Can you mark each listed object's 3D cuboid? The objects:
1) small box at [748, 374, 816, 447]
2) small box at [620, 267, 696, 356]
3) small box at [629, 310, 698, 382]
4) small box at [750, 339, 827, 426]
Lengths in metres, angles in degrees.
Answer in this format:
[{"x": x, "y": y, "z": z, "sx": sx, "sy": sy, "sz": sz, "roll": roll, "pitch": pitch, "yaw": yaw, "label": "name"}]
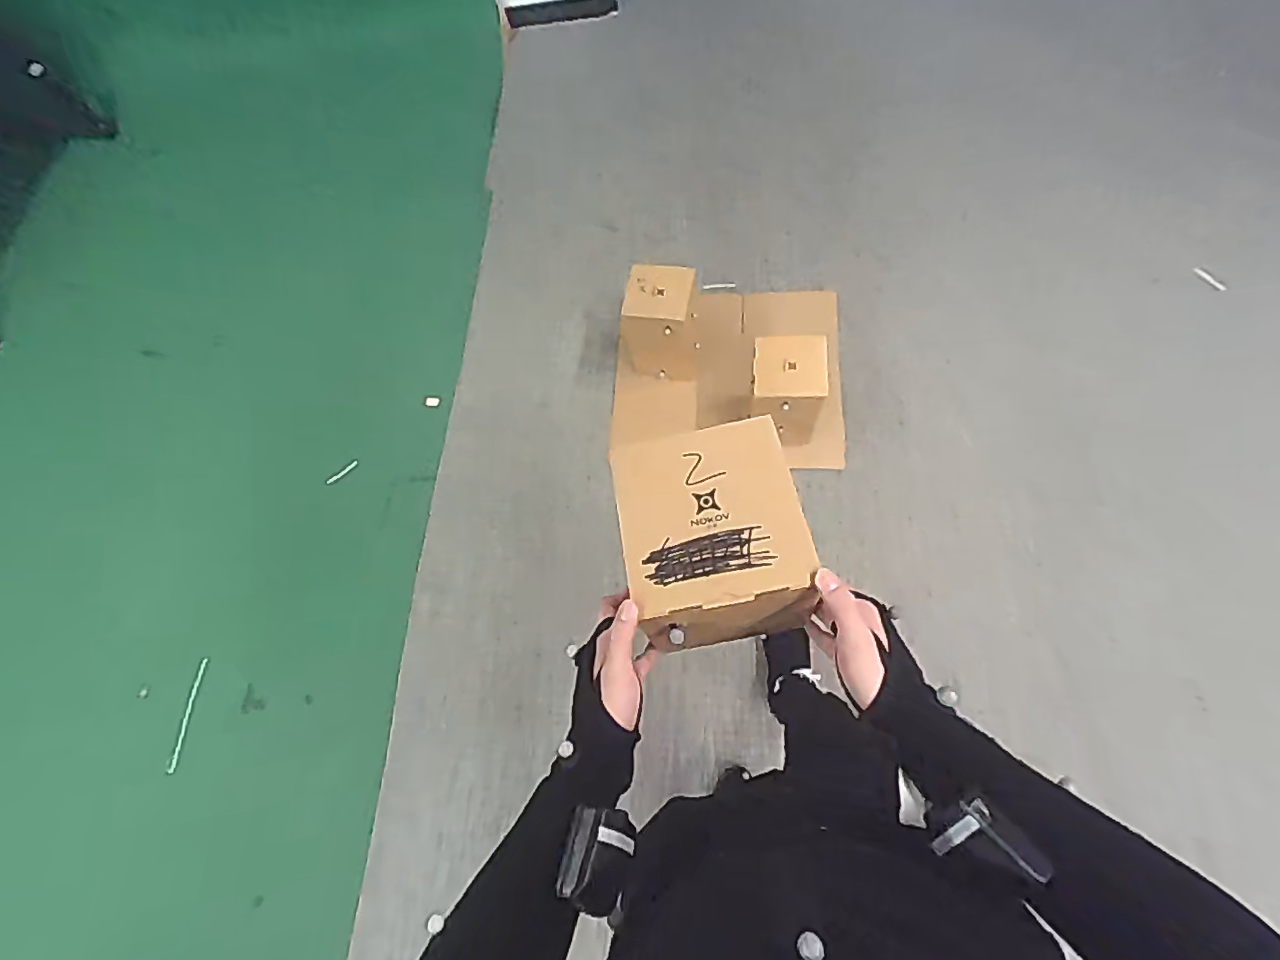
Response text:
[{"x": 0.400, "y": -0.201, "z": 1.543, "sx": 0.179, "sy": 0.176, "sz": 0.168, "roll": 2, "pitch": 72, "yaw": 10, "label": "small box"}, {"x": 0.058, "y": -0.464, "z": 1.505, "sx": 0.179, "sy": 0.176, "sz": 0.168, "roll": 9, "pitch": 72, "yaw": 12, "label": "small box"}, {"x": 0.079, "y": -0.417, "z": 1.663, "sx": 0.179, "sy": 0.176, "sz": 0.168, "roll": 9, "pitch": 73, "yaw": 11, "label": "small box"}, {"x": 0.376, "y": -0.245, "z": 1.389, "sx": 0.179, "sy": 0.176, "sz": 0.168, "roll": 1, "pitch": 72, "yaw": 10, "label": "small box"}]
